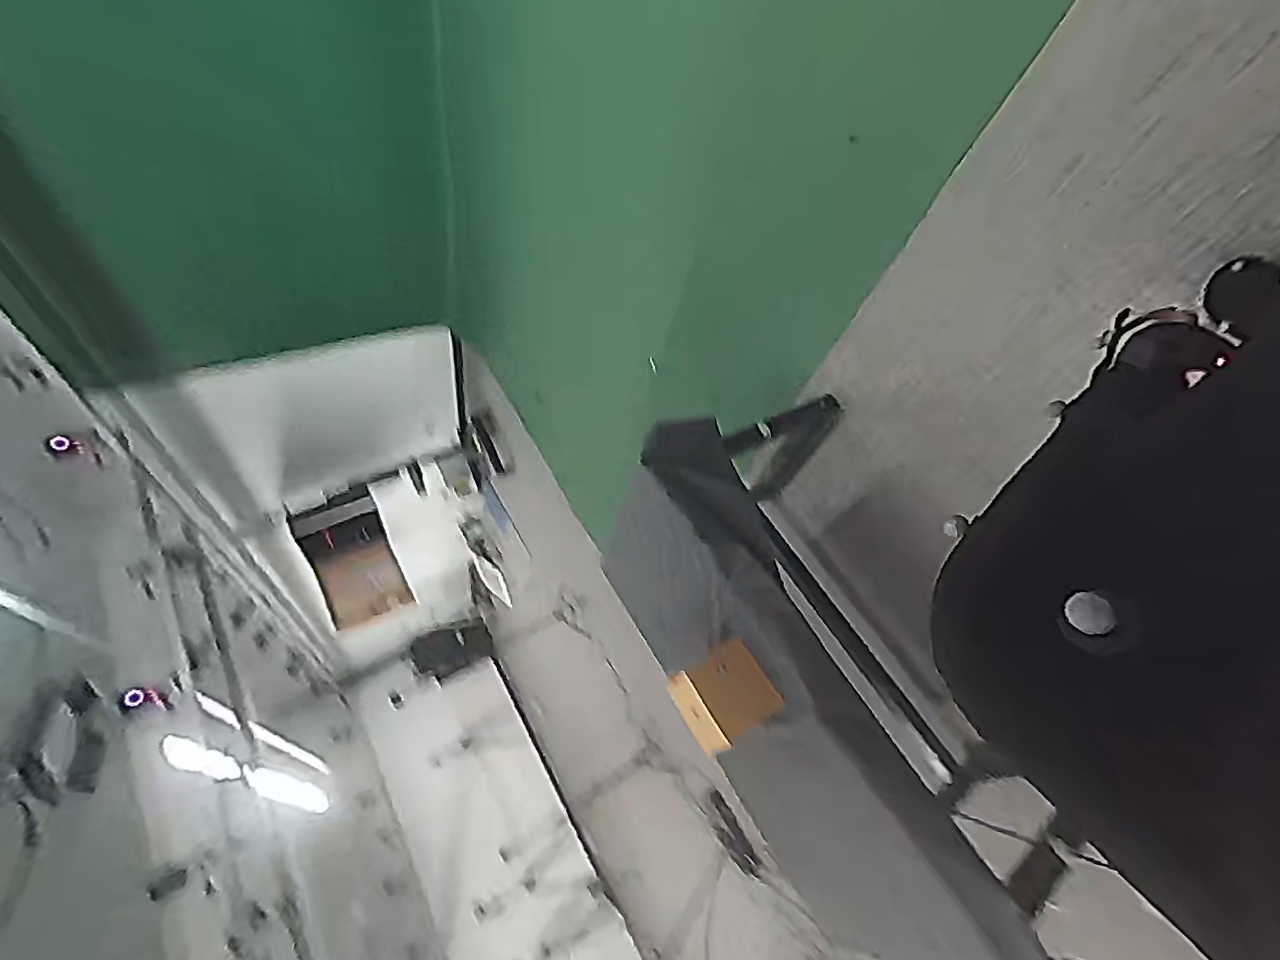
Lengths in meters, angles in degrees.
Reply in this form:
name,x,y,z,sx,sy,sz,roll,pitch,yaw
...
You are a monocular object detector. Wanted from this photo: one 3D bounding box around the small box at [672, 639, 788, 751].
name,x,y,z,sx,sy,sz,roll,pitch,yaw
small box,0.206,0.492,1.259,0.179,0.176,0.168,54,151,22
